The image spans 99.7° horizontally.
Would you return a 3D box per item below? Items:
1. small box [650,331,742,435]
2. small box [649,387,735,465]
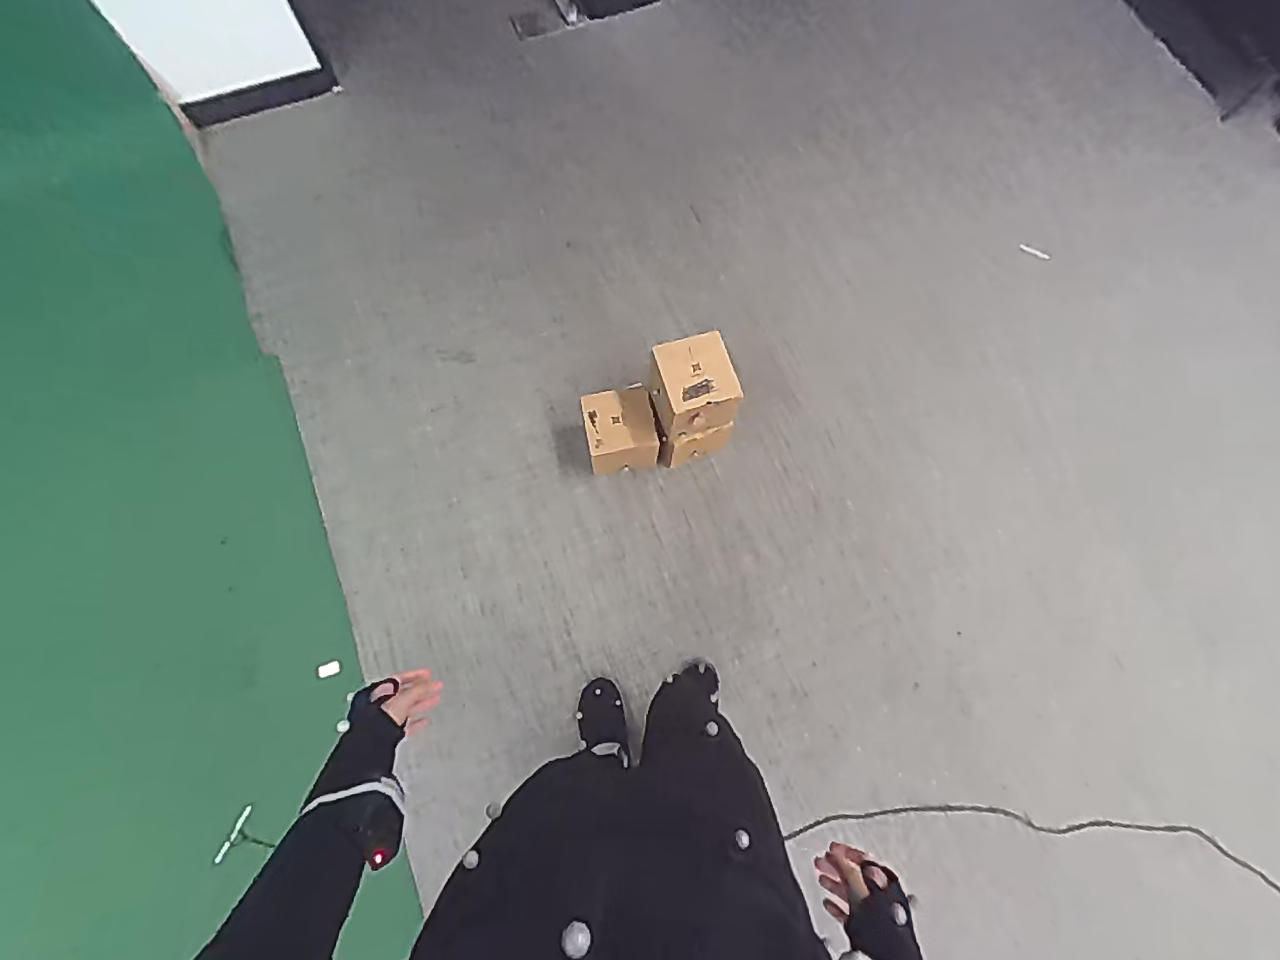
[{"bbox_3d":[0.127,-0.220,1.290,0.168,0.176,0.179,-16,75,-6],"label":"small box"},{"bbox_3d":[0.129,-0.164,1.445,0.168,0.176,0.179,-21,76,-8],"label":"small box"}]
